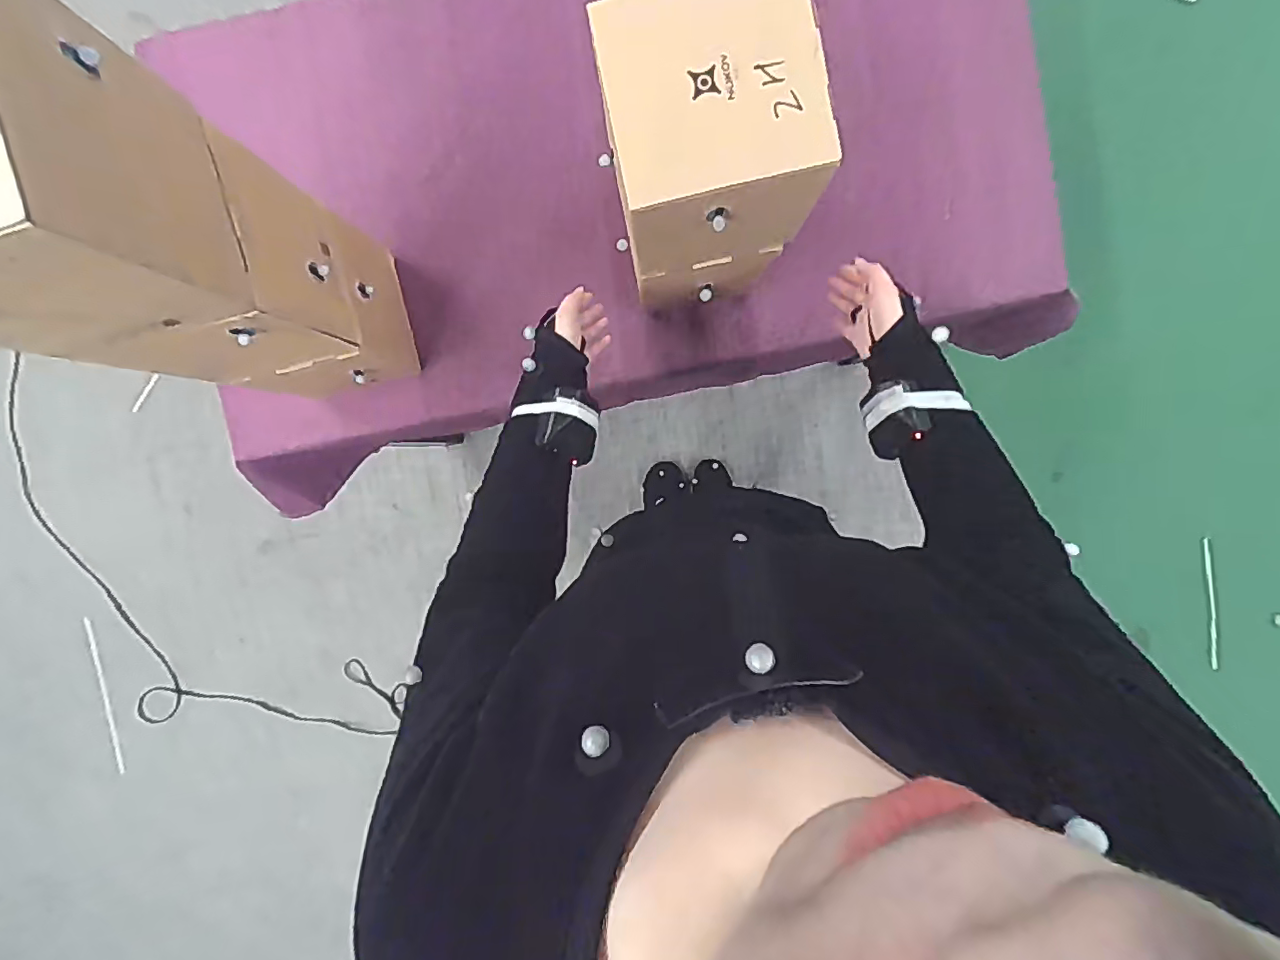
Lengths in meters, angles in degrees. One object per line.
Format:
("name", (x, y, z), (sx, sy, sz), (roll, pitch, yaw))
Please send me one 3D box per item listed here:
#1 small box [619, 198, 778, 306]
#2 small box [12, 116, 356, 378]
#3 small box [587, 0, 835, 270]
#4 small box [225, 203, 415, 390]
("small box", (0.062, -0.328, 0.675), (0.168, 0.176, 0.179), (-11, 94, 2))
("small box", (-0.423, -0.207, 0.534), (0.179, 0.176, 0.168), (-14, 93, 1))
("small box", (0.060, -0.316, 0.509), (0.179, 0.176, 0.168), (-11, 93, 2))
("small box", (-0.415, -0.217, 0.695), (0.168, 0.176, 0.179), (-12, 92, 1))
